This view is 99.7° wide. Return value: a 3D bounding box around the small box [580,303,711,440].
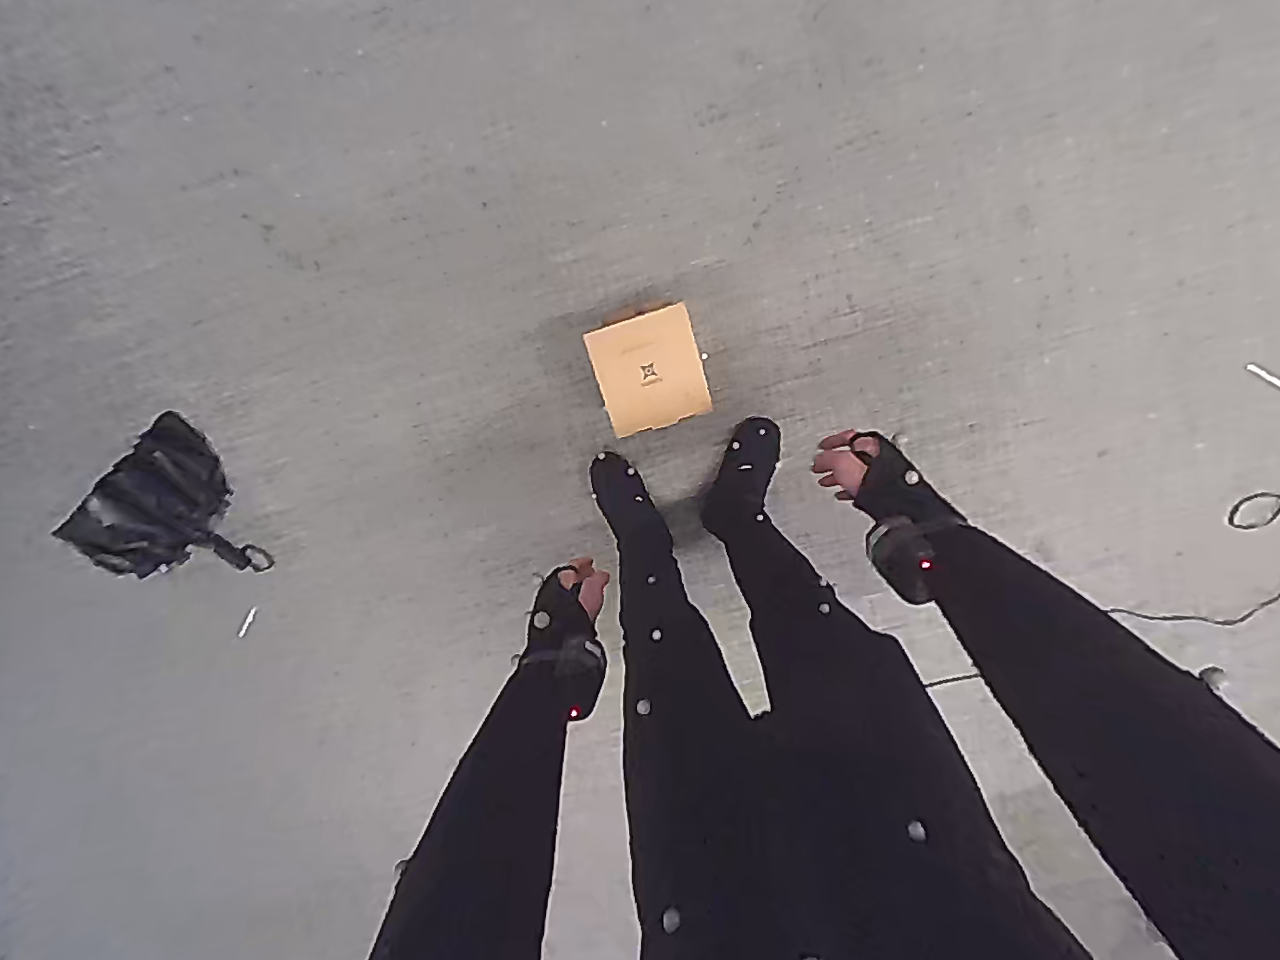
[{"bbox_3d":[0.013,-0.188,0.913,0.168,0.176,0.179,-18,105,6],"label":"small box"}]
